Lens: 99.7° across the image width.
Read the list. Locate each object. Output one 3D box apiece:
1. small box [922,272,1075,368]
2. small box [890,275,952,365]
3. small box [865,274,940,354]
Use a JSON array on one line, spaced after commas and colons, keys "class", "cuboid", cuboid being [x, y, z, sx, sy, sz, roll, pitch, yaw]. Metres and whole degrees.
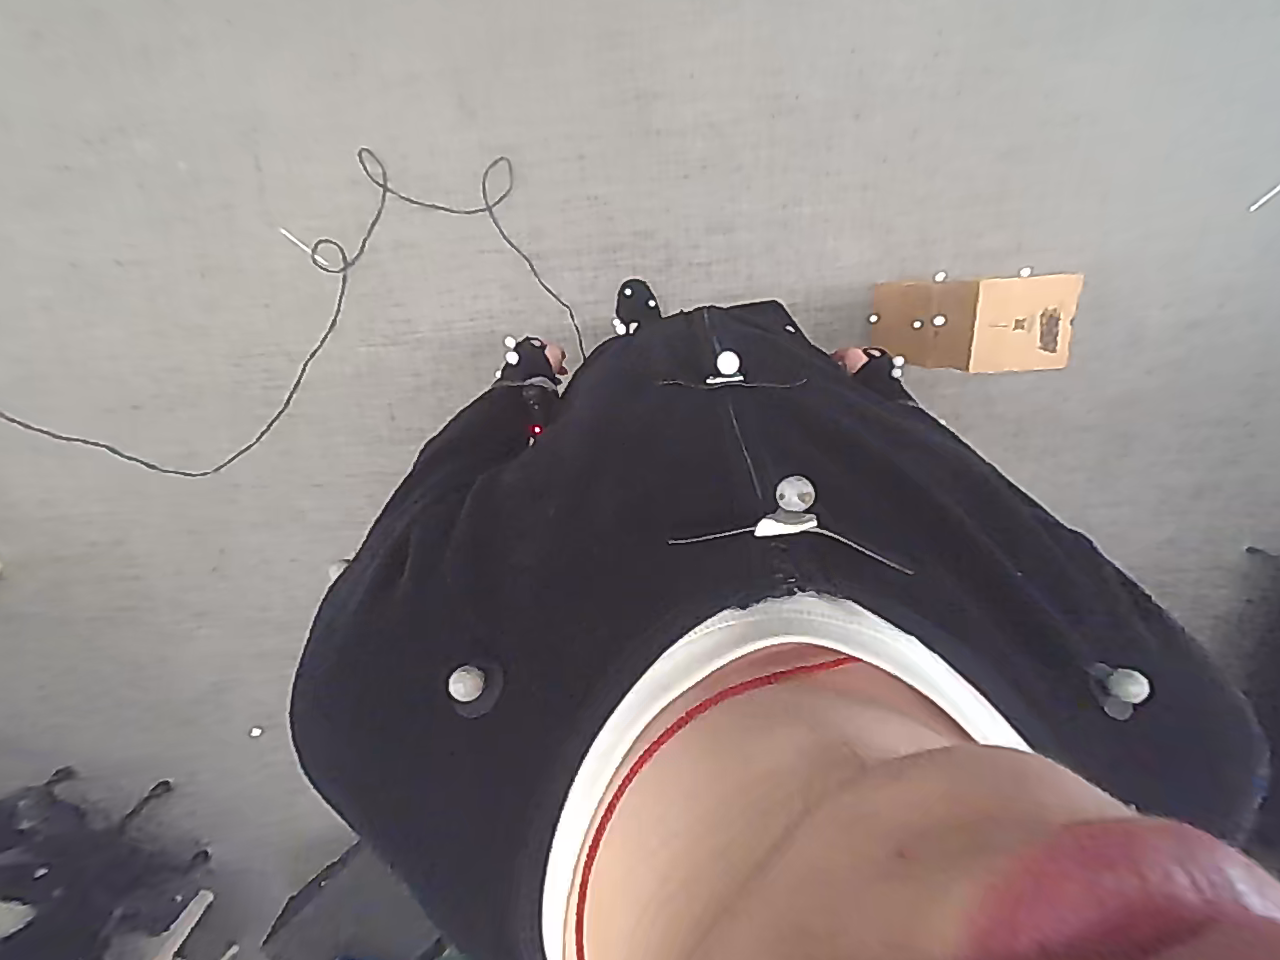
[{"class": "small box", "cuboid": [0.684, -0.316, 1.054, 0.179, 0.176, 0.168, -2, 110, 3]}, {"class": "small box", "cuboid": [0.681, -0.365, 1.213, 0.168, 0.176, 0.179, -4, 113, 3]}, {"class": "small box", "cuboid": [0.685, -0.421, 1.364, 0.168, 0.176, 0.179, -3, 111, 2]}]
